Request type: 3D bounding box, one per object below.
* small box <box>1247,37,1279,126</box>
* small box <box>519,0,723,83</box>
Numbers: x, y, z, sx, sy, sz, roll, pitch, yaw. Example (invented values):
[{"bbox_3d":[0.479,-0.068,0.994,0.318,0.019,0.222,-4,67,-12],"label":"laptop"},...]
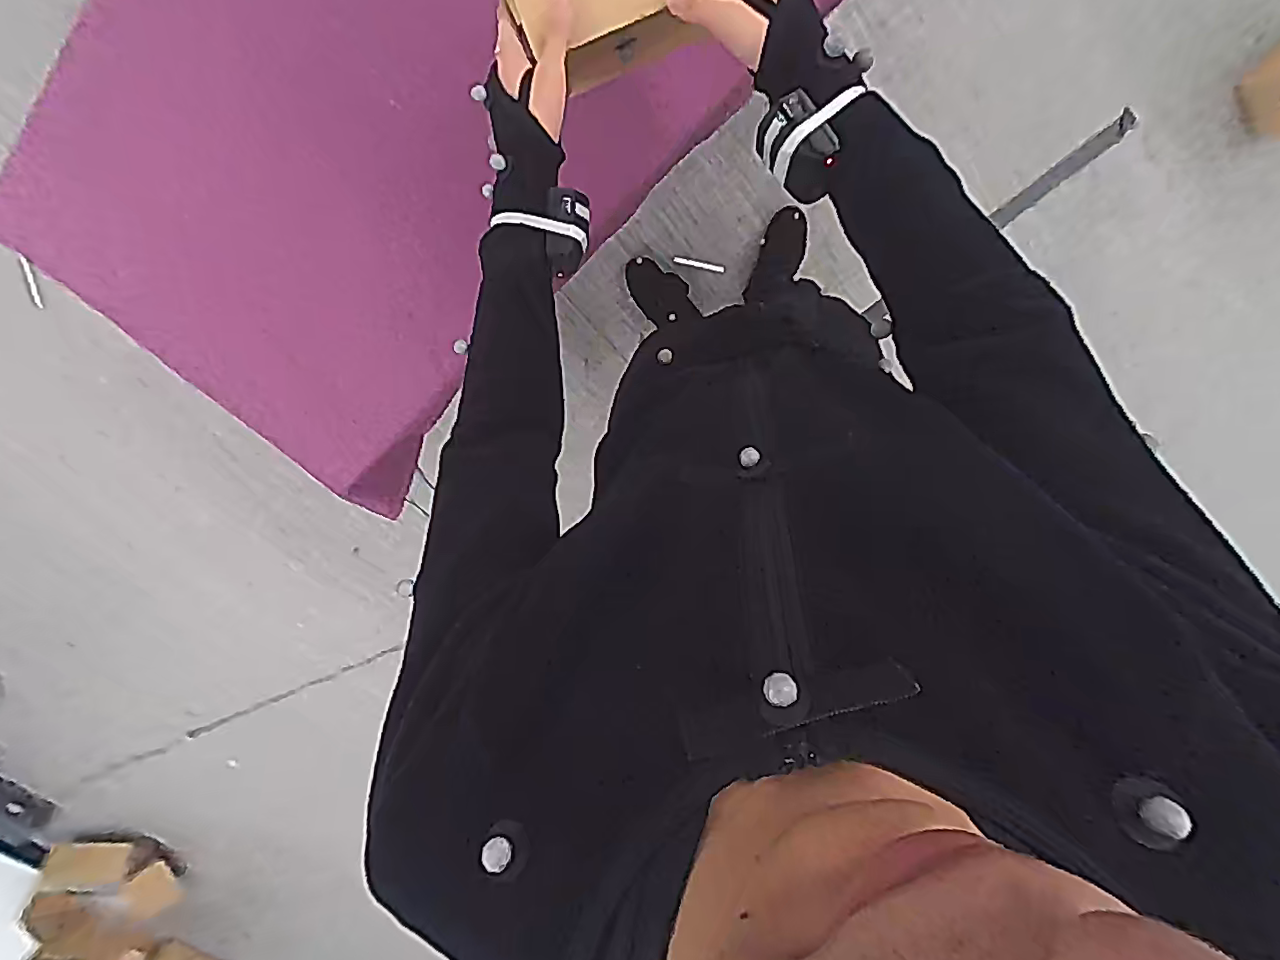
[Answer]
[{"bbox_3d":[1.478,-0.900,1.156,0.168,0.176,0.179,41,110,-16],"label":"small box"},{"bbox_3d":[-0.024,-0.481,0.471,0.179,0.176,0.168,-16,117,11],"label":"small box"}]
